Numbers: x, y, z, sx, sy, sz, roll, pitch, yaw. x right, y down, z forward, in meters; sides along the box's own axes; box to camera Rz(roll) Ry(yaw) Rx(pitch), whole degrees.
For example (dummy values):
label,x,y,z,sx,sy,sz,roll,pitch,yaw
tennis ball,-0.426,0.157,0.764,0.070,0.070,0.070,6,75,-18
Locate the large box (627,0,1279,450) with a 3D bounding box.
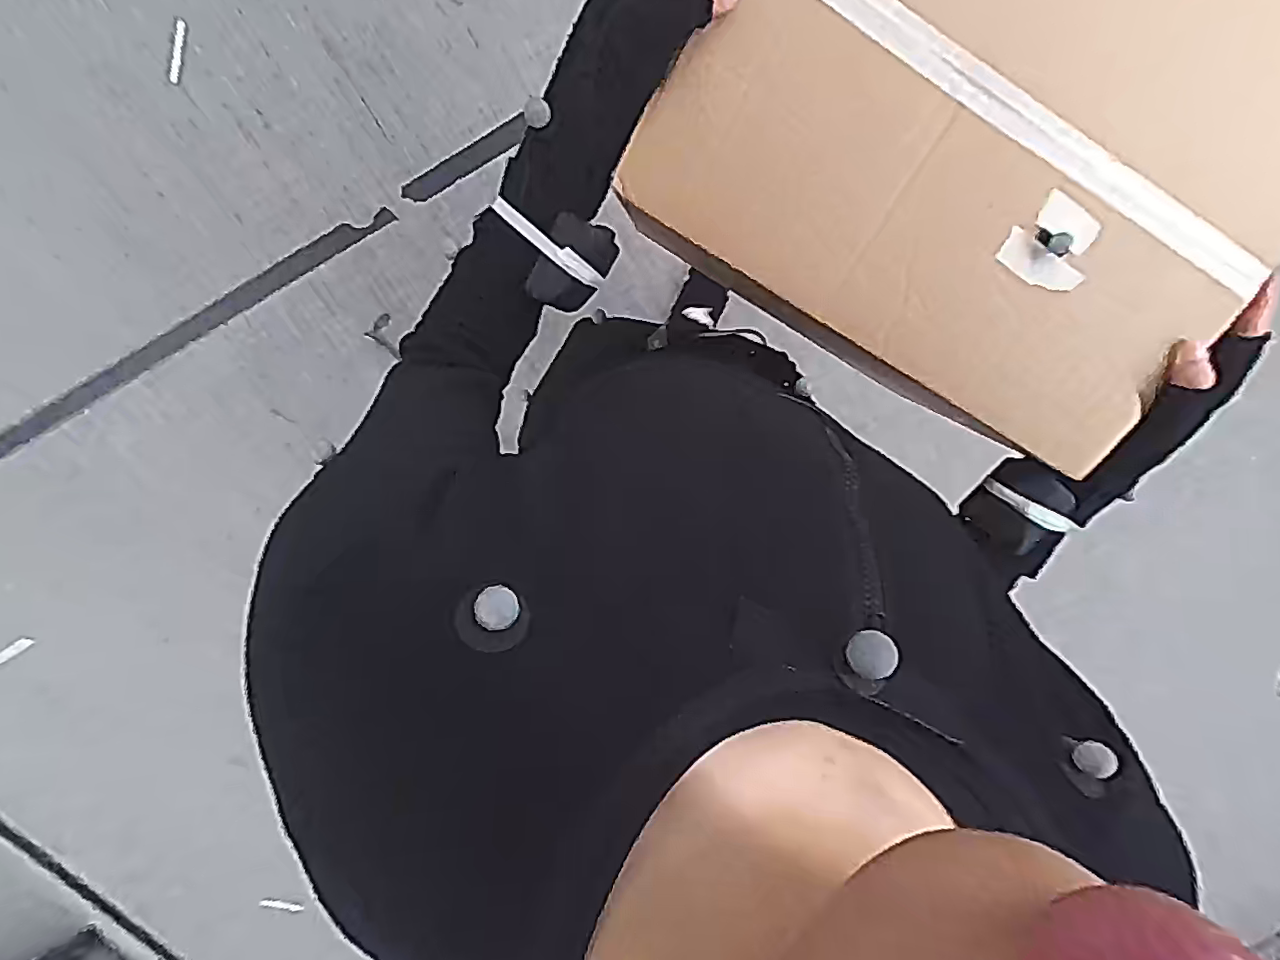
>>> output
label,x,y,z,sx,sy,sz,roll,pitch,yaw
large box,0.236,-0.286,0.483,0.408,0.320,0.320,28,110,-9
